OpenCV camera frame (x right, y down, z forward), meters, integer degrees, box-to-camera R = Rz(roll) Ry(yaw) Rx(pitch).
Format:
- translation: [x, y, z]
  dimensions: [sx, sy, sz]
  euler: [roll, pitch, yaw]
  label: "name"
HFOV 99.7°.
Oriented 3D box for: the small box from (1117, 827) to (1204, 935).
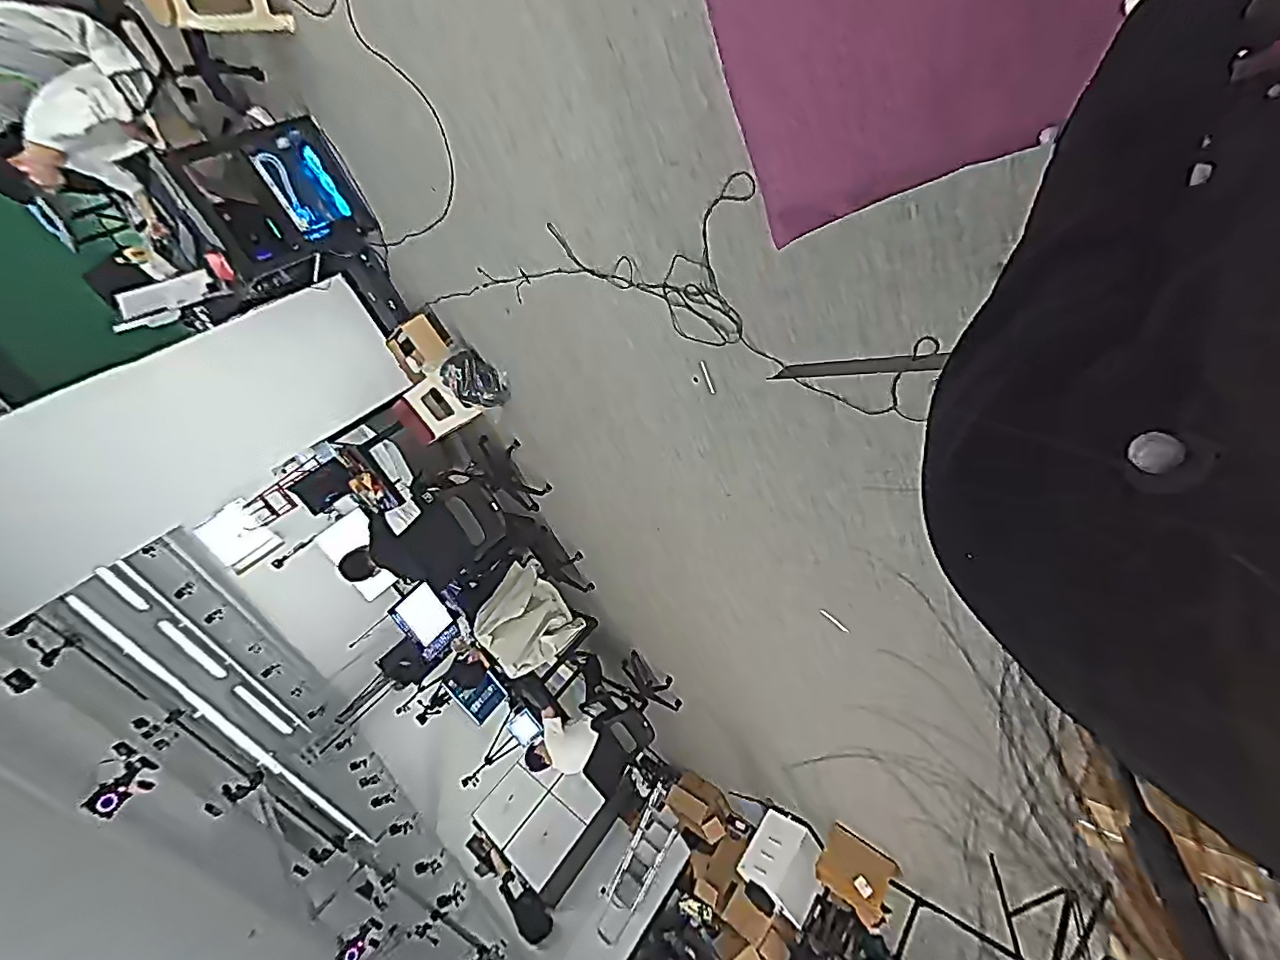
- translation: [1.565, 1.196, 1.627]
  dimensions: [0.179, 0.176, 0.168]
  euler: [6, 130, 48]
  label: "small box"
